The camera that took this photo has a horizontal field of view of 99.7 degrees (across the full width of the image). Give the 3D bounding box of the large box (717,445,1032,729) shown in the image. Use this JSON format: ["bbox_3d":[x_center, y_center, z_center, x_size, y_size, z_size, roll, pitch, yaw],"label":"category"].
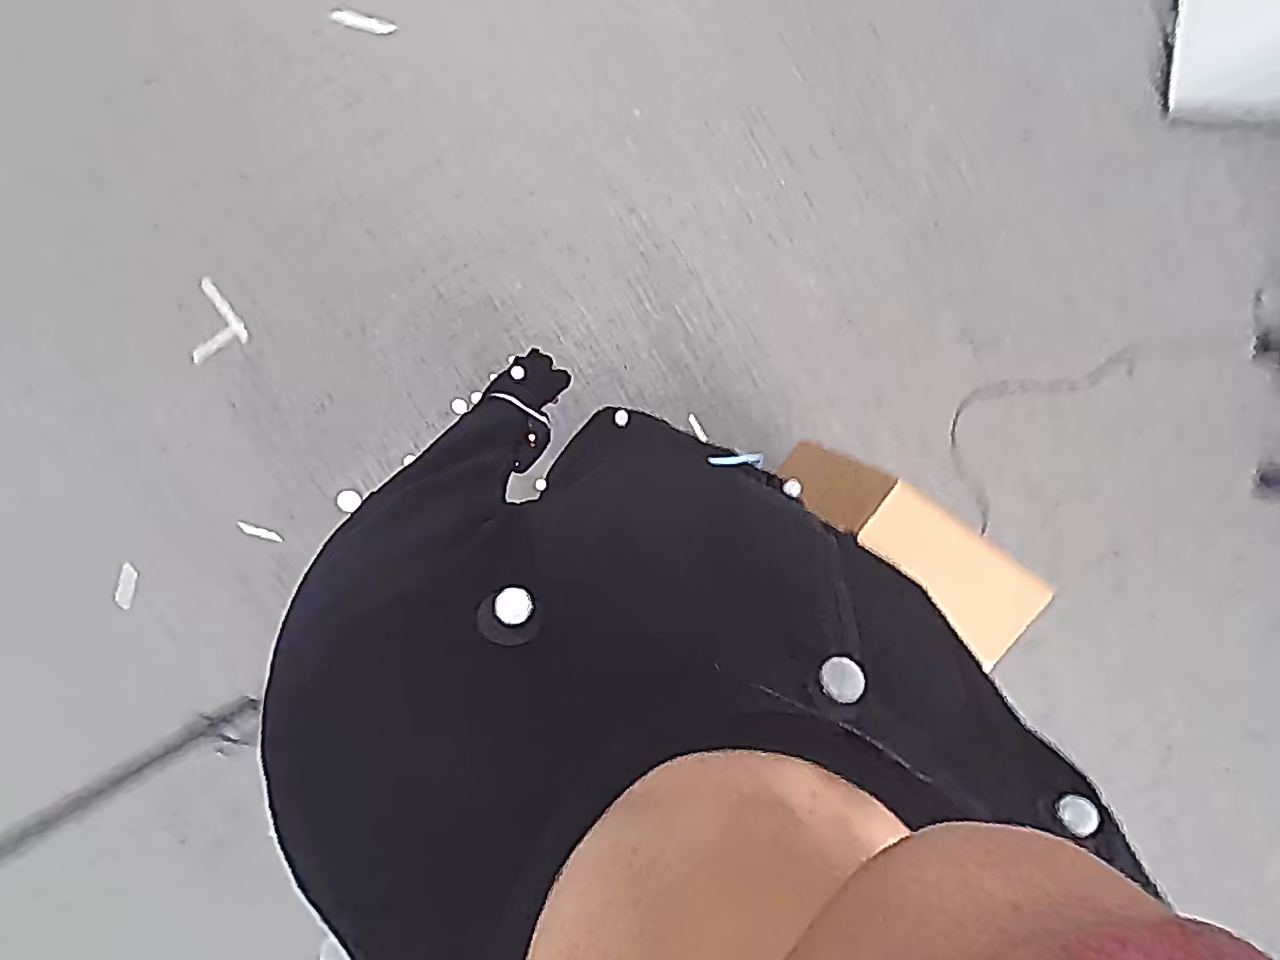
[{"bbox_3d":[0.388,0.165,1.009,0.320,0.408,0.320,34,98,-8],"label":"large box"}]
